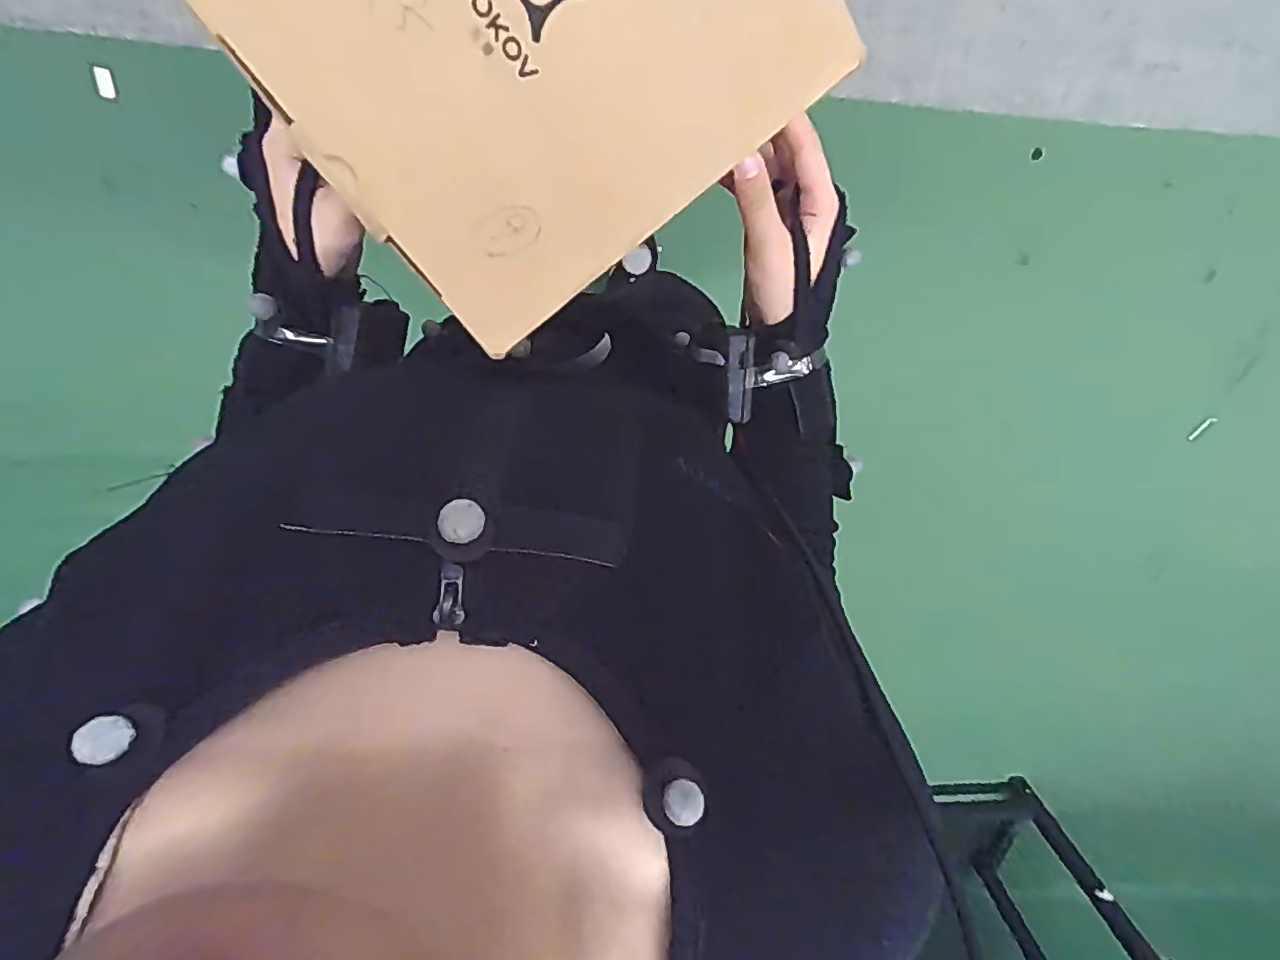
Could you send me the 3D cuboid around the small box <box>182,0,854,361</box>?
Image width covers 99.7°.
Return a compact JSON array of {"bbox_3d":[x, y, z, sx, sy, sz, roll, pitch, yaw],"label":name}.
[{"bbox_3d":[-0.040,-0.185,0.254,0.179,0.176,0.168,-34,111,14],"label":"small box"}]
